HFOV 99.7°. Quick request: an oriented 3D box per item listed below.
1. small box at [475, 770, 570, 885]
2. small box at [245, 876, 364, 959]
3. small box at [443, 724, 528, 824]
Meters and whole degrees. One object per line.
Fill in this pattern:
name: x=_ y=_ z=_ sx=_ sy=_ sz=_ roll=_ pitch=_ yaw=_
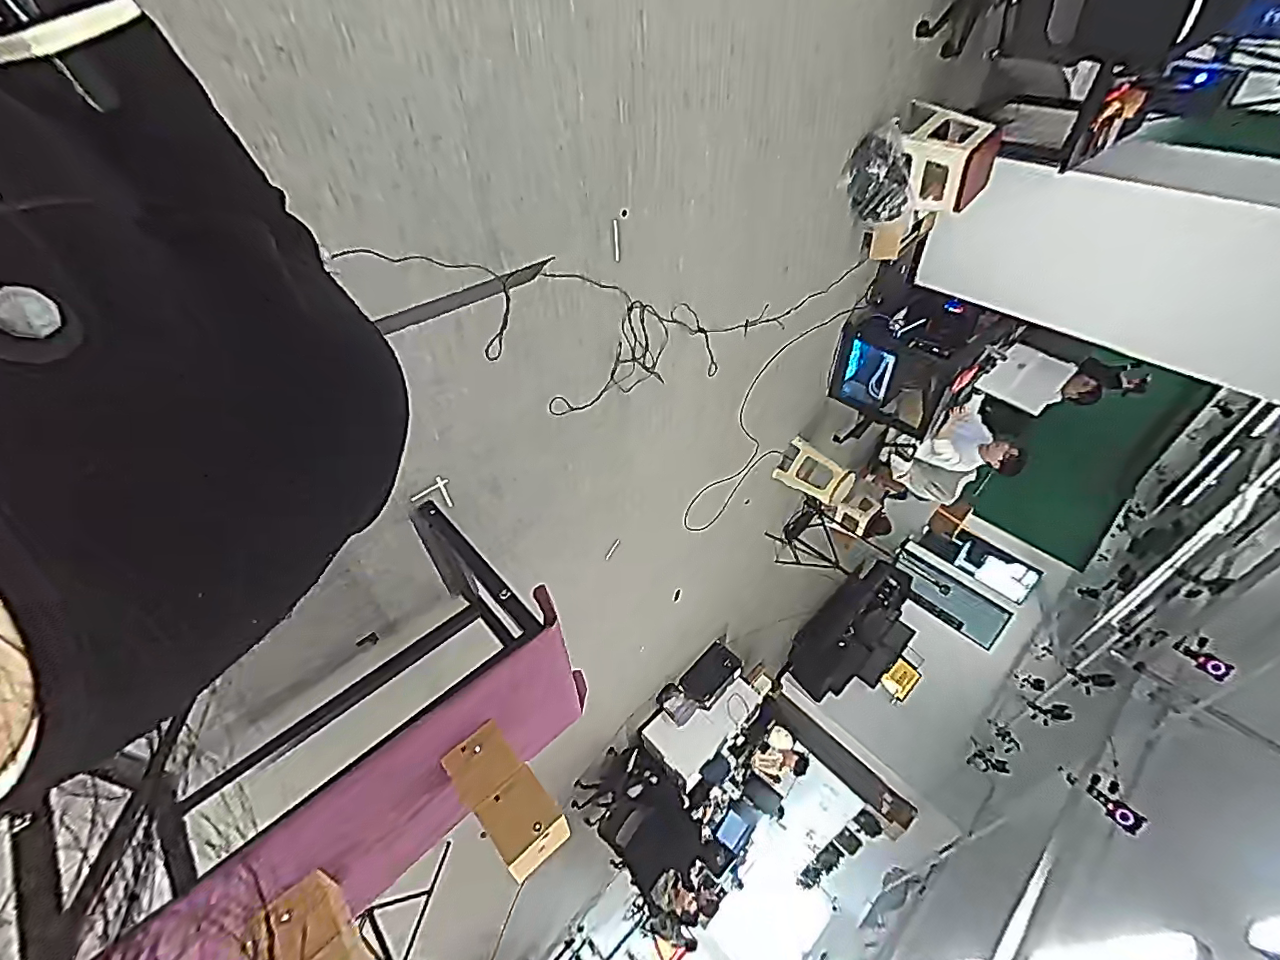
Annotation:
small box: x=-0.303 y=0.894 z=1.403 sx=0.168 sy=0.176 sz=0.179 roll=-32 pitch=143 yaw=-30
small box: x=-0.785 y=1.082 z=1.271 sx=0.168 sy=0.176 sz=0.179 roll=-31 pitch=141 yaw=-33
small box: x=-0.415 y=0.812 z=1.490 sx=0.168 sy=0.176 sz=0.179 roll=-33 pitch=142 yaw=-29
